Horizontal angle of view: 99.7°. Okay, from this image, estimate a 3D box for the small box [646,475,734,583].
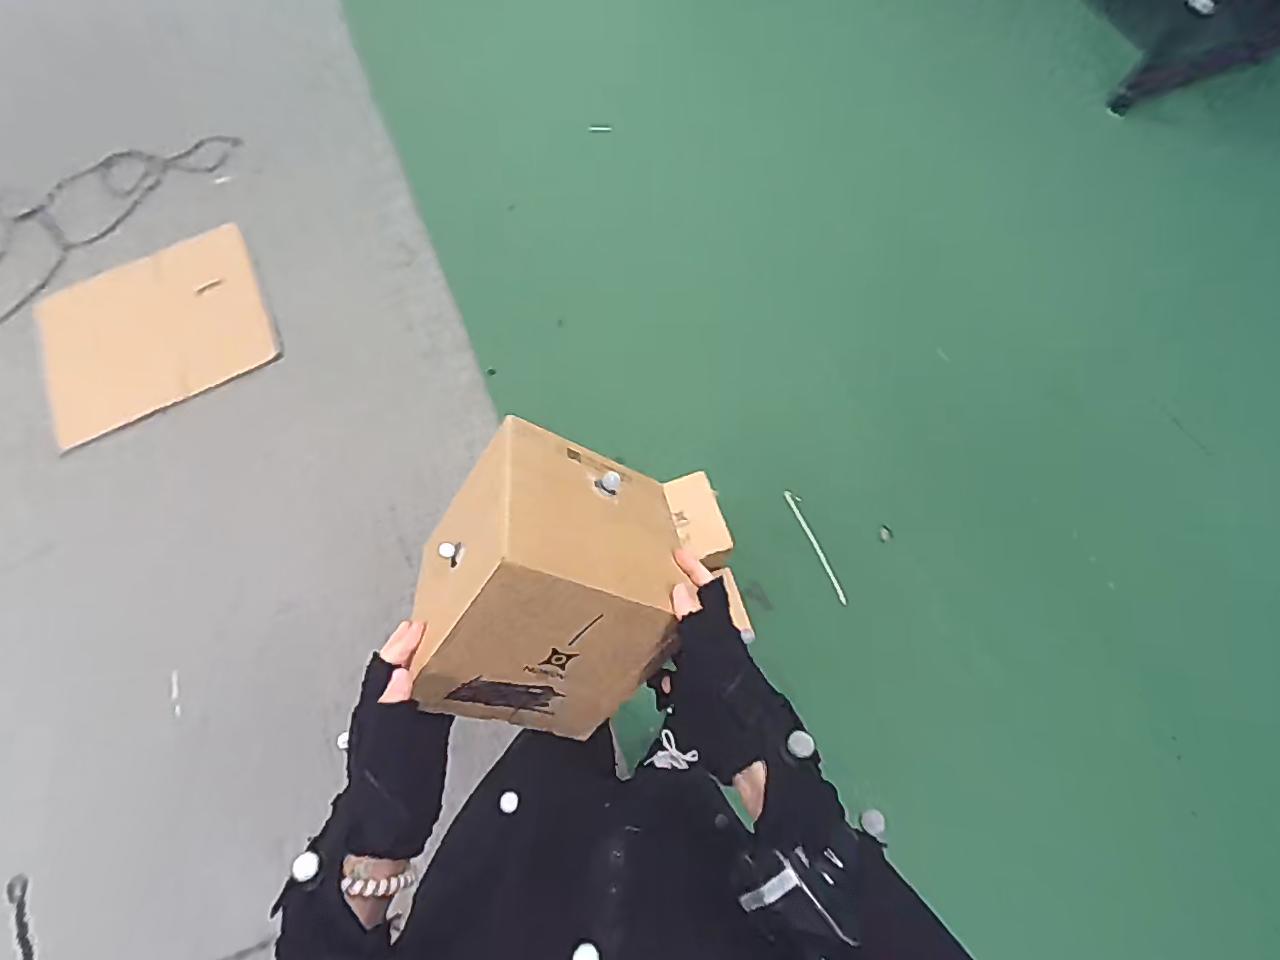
[{"bbox_3d":[0.090,0.115,1.180,0.168,0.176,0.179,-19,72,-3],"label":"small box"}]

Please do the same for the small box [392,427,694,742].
[{"bbox_3d":[-0.084,0.088,0.462,0.179,0.168,0.176,-52,31,24],"label":"small box"}]
